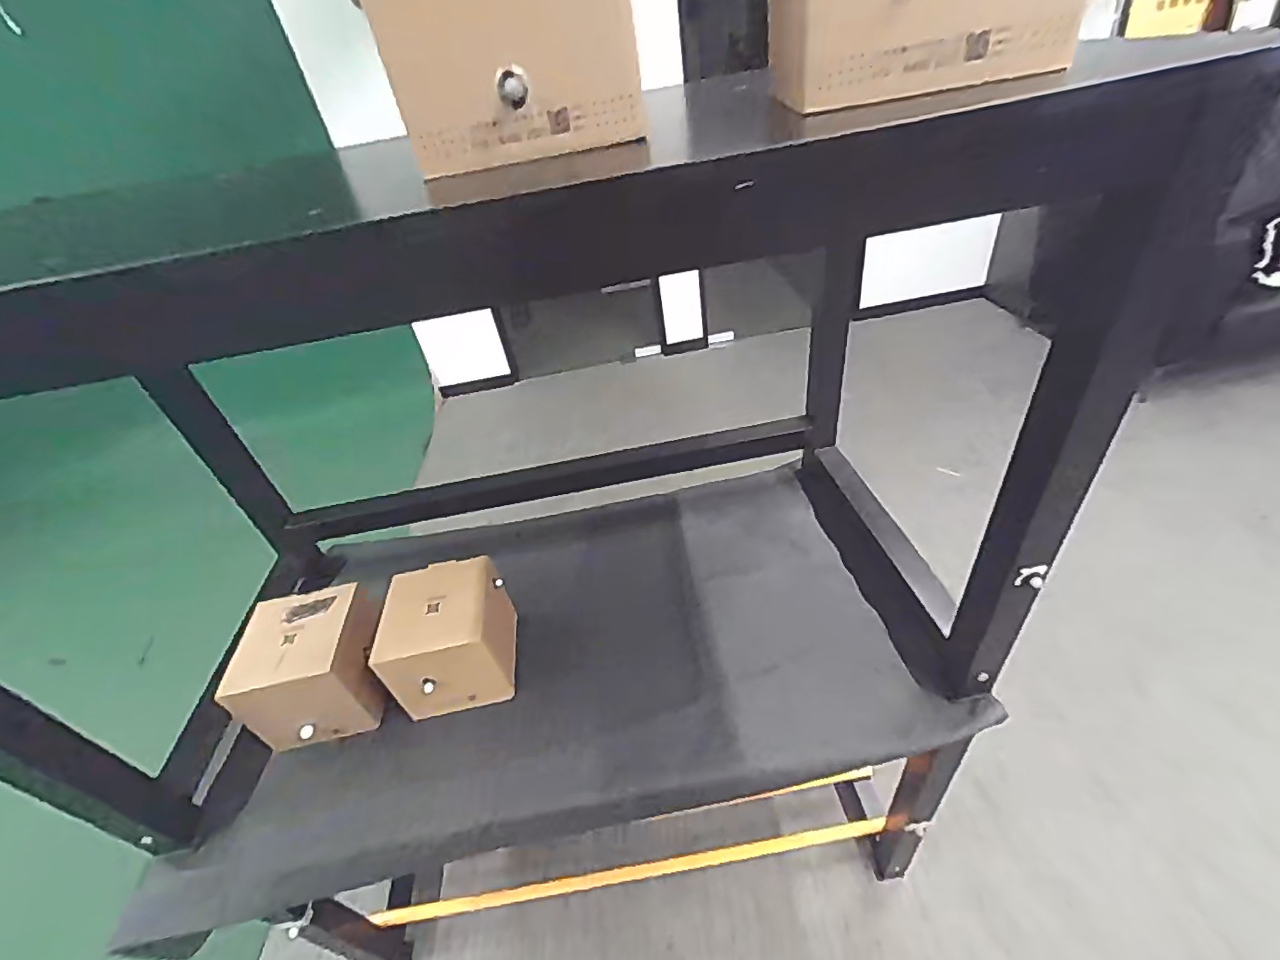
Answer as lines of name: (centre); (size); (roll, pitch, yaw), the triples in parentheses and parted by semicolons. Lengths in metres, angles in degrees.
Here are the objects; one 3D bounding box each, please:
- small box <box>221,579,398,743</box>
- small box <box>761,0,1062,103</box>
small box: (-0.520, 0.294, 0.885); (0.168, 0.176, 0.179); (-12, 39, -2)
small box: (0.173, -0.369, 0.363); (0.168, 0.176, 0.179); (-5, 38, 8)
